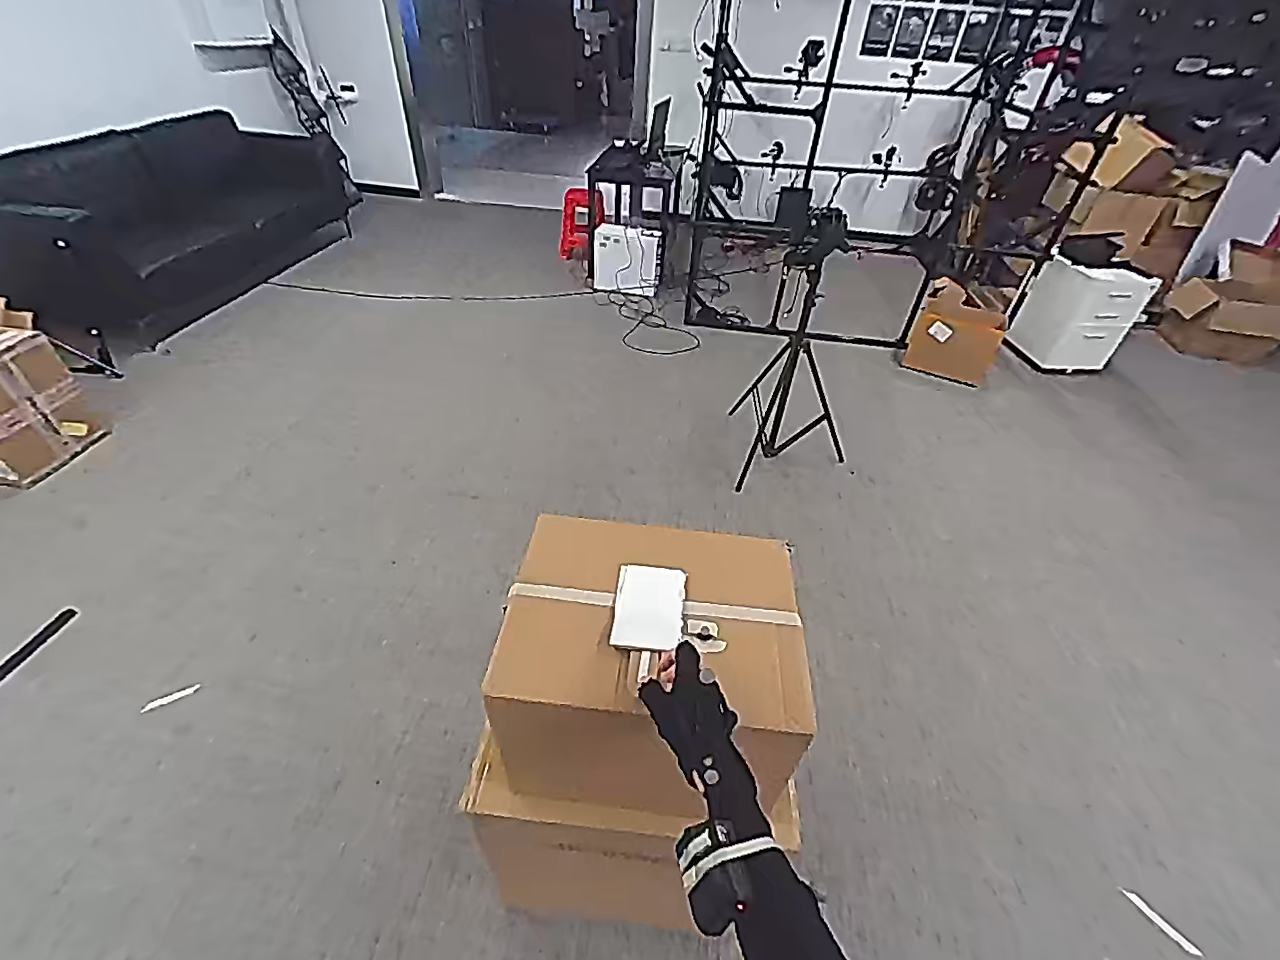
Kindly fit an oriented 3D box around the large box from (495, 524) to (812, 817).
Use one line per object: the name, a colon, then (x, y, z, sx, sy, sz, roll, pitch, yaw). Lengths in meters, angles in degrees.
large box: (0.015, 0.302, 0.871, 0.408, 0.320, 0.320, 6, 40, 1)
